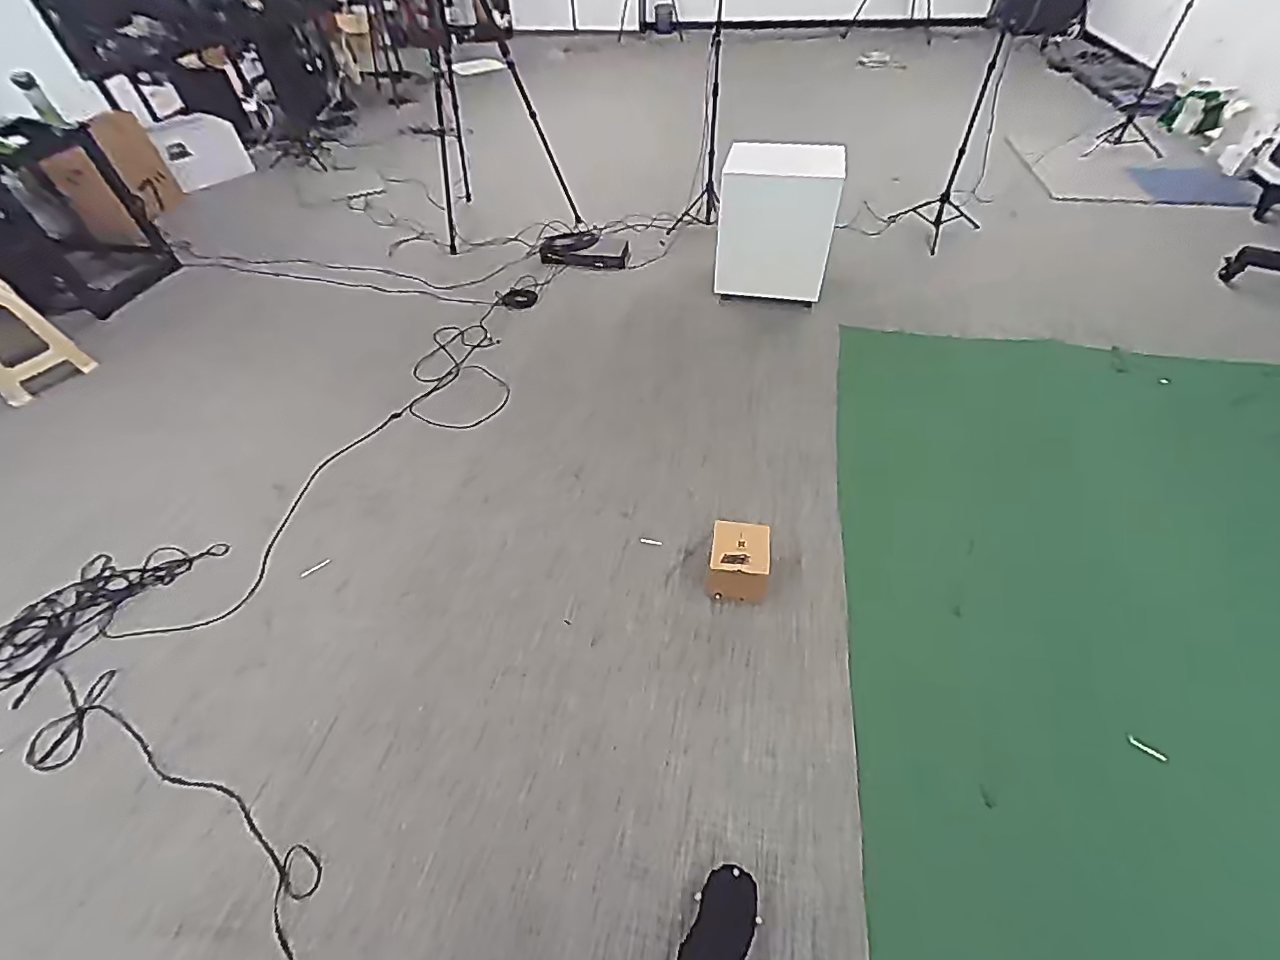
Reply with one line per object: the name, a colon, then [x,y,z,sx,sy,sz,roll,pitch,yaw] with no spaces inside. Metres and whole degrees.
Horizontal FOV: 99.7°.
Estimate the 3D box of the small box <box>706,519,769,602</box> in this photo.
small box: [0.289,0.243,1.613,0.168,0.176,0.179,6,49,8]
